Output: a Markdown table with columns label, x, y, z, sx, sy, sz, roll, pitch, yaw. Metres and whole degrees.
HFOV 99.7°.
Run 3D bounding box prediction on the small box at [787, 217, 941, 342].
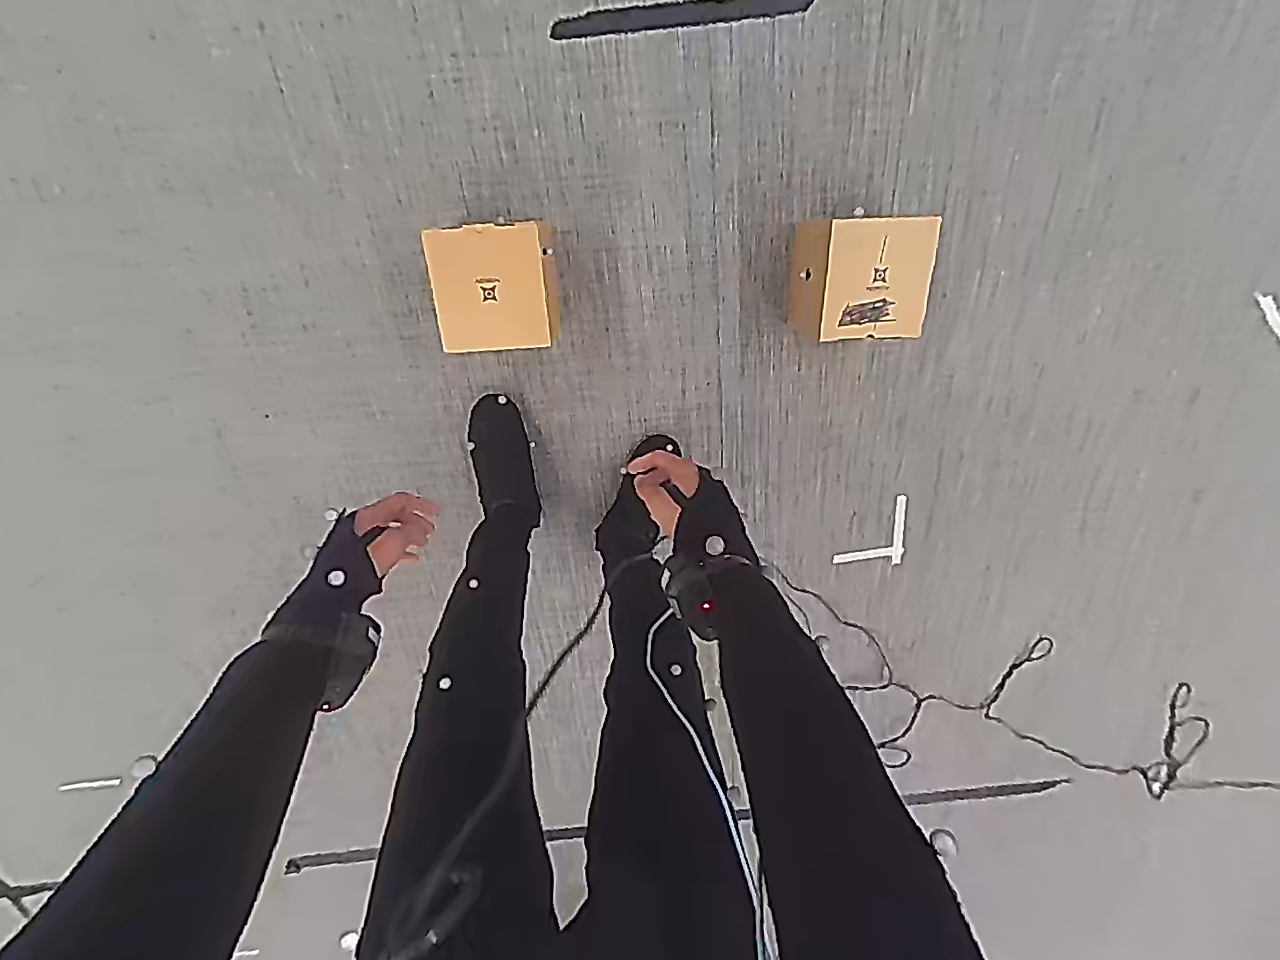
| label | x | y | z | sx | sy | sz | roll | pitch | yaw |
| --- | --- | --- | --- | --- | --- | --- | --- | --- | --- |
| small box | 0.348 | -0.329 | 0.878 | 0.168 | 0.176 | 0.179 | -3 | 114 | -3 |

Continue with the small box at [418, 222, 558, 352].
| label | x | y | z | sx | sy | sz | roll | pitch | yaw |
| --- | --- | --- | --- | --- | --- | --- | --- | --- | --- |
| small box | -0.225 | -0.309 | 0.855 | 0.168 | 0.176 | 0.179 | -4 | 114 | -1 |
